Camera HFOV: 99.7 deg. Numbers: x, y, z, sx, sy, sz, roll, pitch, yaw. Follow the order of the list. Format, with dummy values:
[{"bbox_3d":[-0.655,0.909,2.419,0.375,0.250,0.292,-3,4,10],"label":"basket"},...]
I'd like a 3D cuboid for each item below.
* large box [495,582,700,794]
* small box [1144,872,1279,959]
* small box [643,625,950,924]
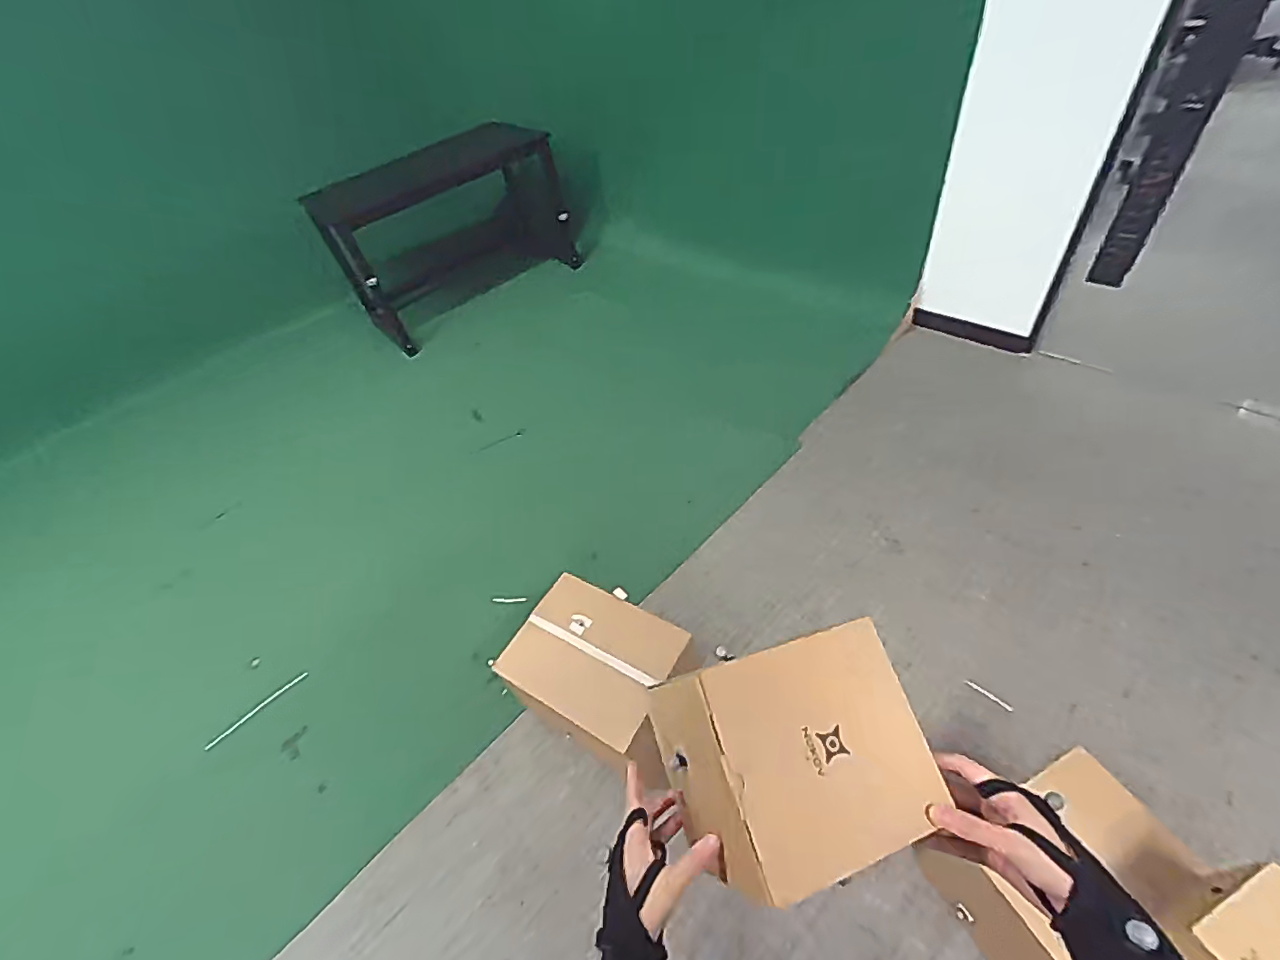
[{"bbox_3d":[-0.086,0.535,1.410,0.408,0.320,0.320,18,53,29],"label":"large box"},{"bbox_3d":[0.852,0.672,0.730,0.179,0.176,0.168,-24,47,-12],"label":"small box"},{"bbox_3d":[0.122,0.246,0.491,0.179,0.176,0.168,-12,69,-20],"label":"small box"}]
